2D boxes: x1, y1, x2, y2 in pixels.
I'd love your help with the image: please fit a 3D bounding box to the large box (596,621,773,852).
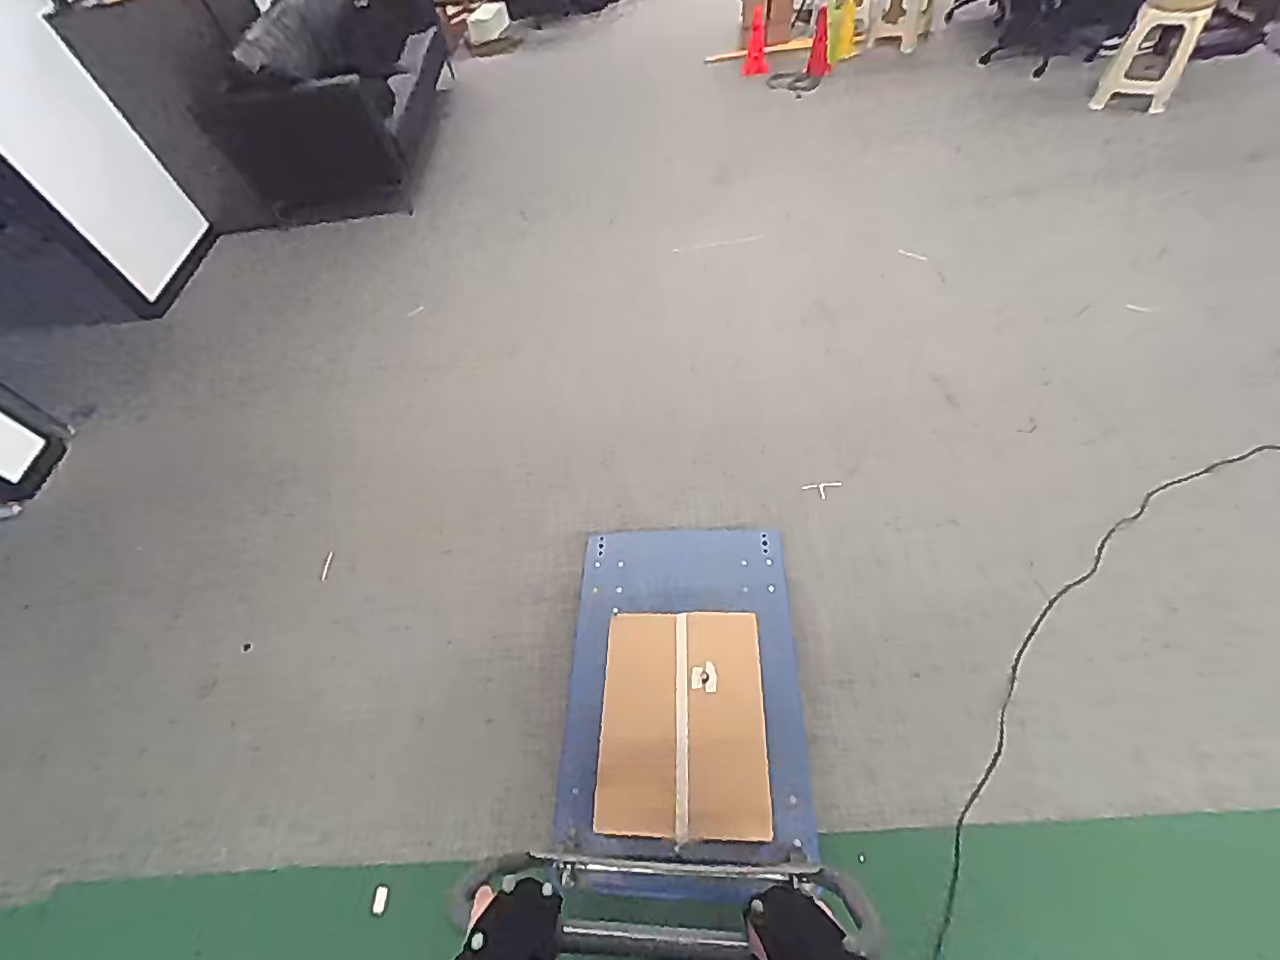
[{"bbox_3d":[0.100,0.556,1.167,0.320,0.320,0.408,-2,54,7],"label":"large box"}]
